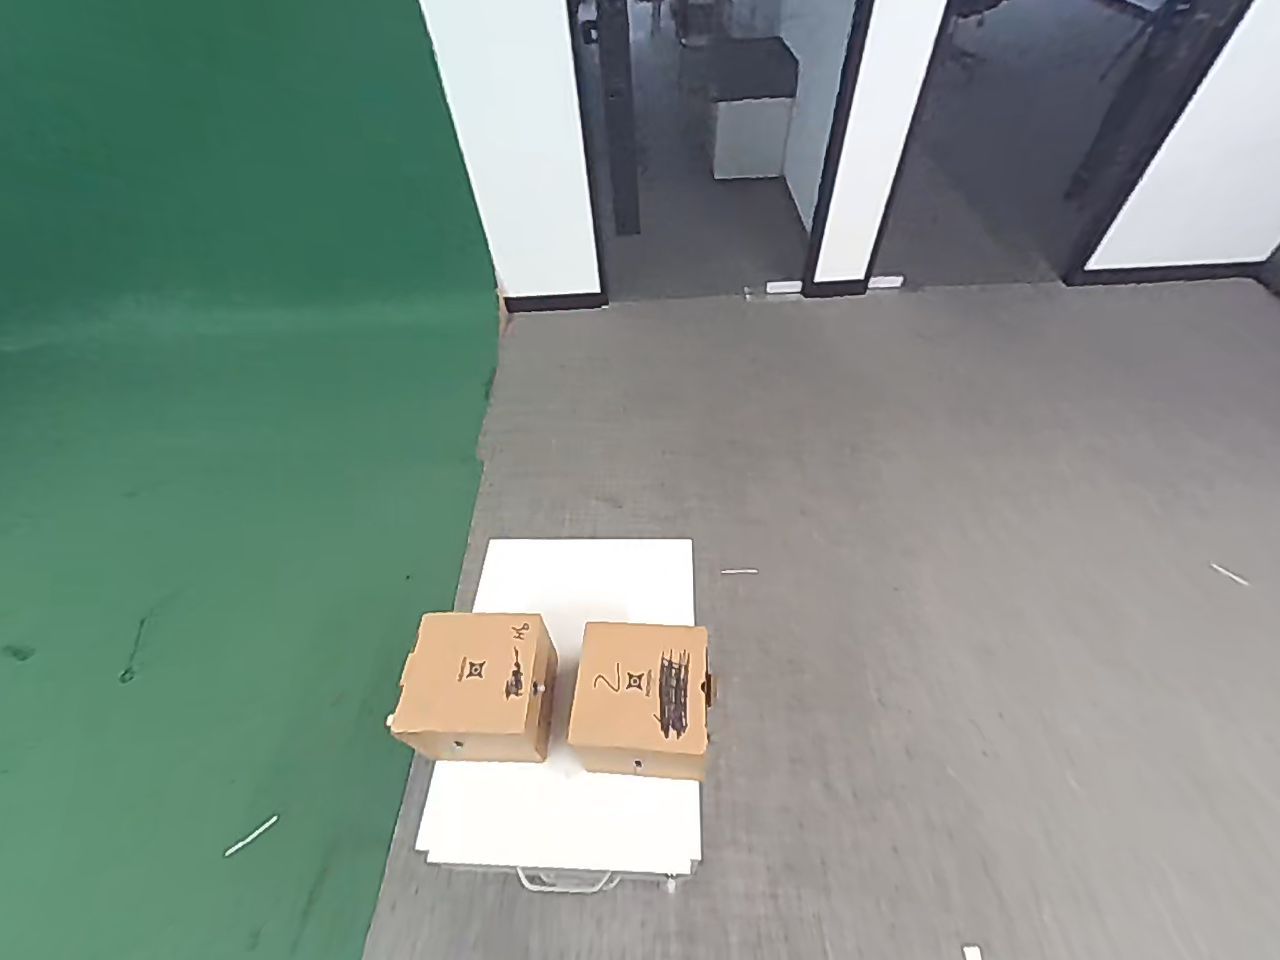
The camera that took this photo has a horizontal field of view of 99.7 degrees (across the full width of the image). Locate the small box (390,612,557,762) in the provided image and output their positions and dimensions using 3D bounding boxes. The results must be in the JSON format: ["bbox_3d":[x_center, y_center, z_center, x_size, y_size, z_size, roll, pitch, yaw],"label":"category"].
[{"bbox_3d":[-0.230,0.308,0.800,0.179,0.176,0.168,0,51,2],"label":"small box"}]
